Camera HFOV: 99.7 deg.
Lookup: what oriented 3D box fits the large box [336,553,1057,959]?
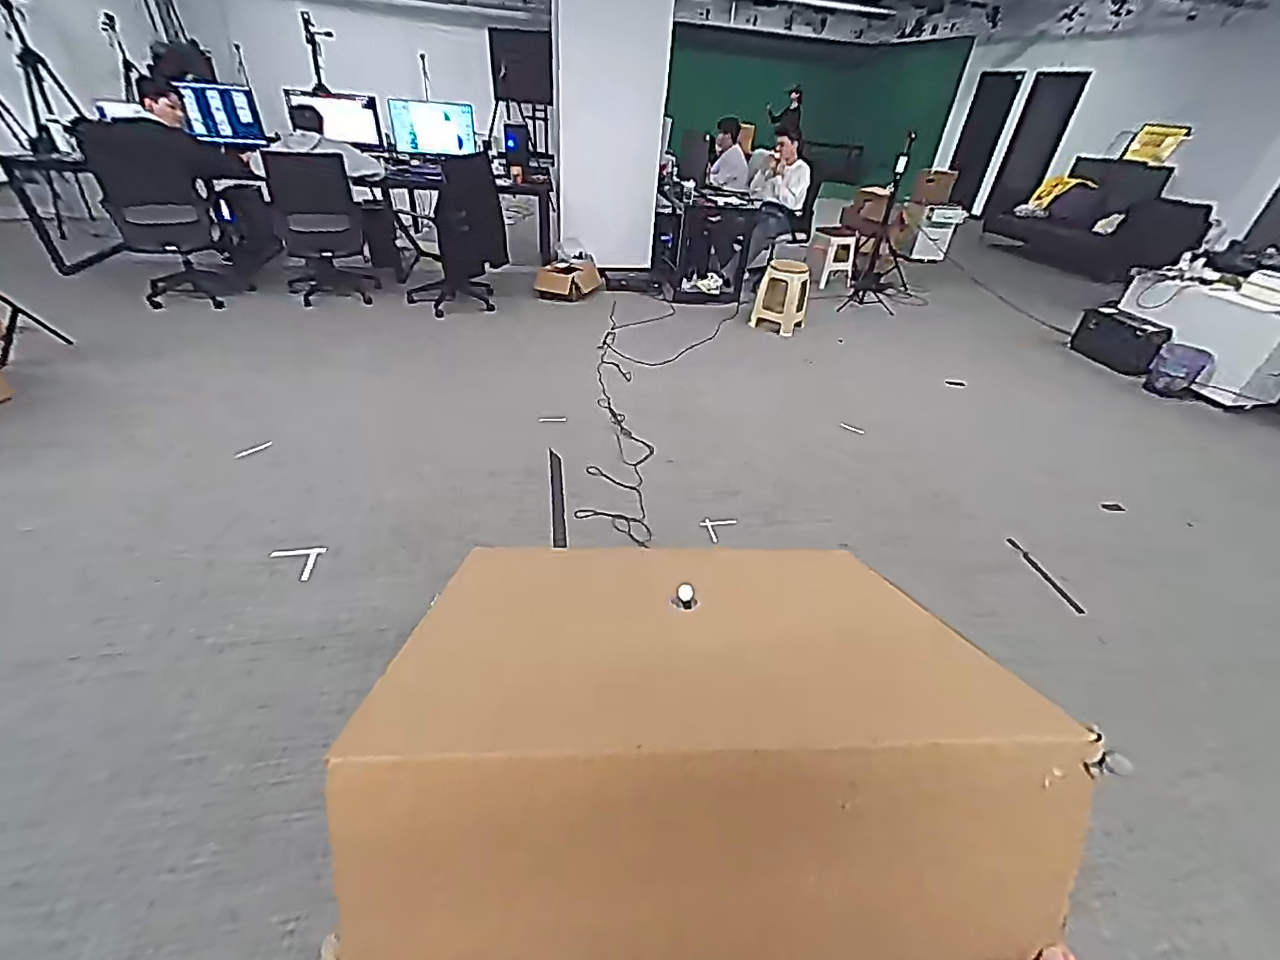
[{"bbox_3d":[0.027,0.259,0.467,0.408,0.320,0.320,0,13,-5],"label":"large box"}]
